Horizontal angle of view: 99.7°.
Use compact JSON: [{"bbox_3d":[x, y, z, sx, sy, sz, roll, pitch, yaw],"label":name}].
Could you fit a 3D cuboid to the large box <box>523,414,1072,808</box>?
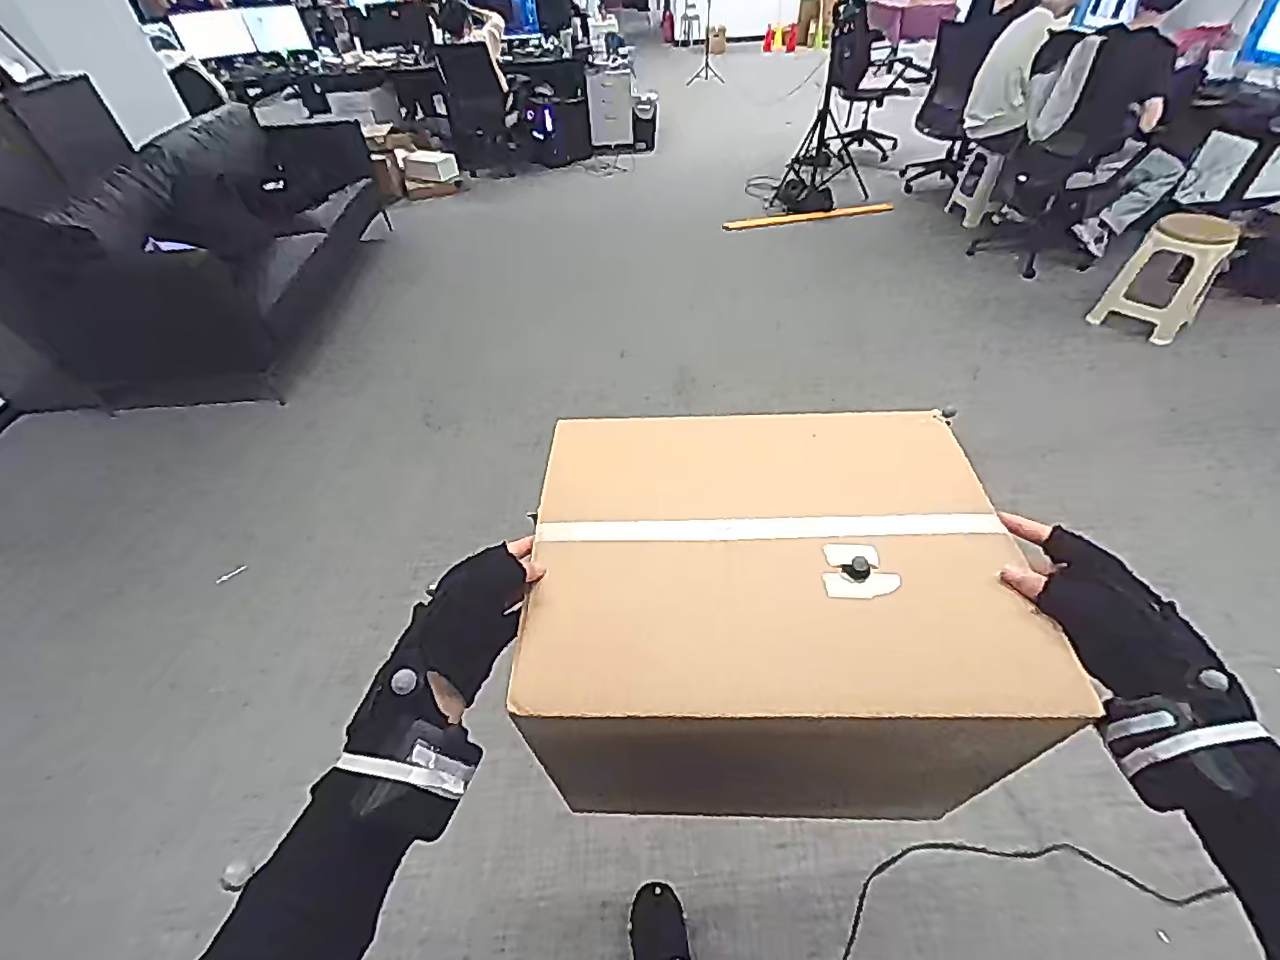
[{"bbox_3d":[0.117,0.149,0.597,0.408,0.320,0.320,-2,48,3],"label":"large box"}]
